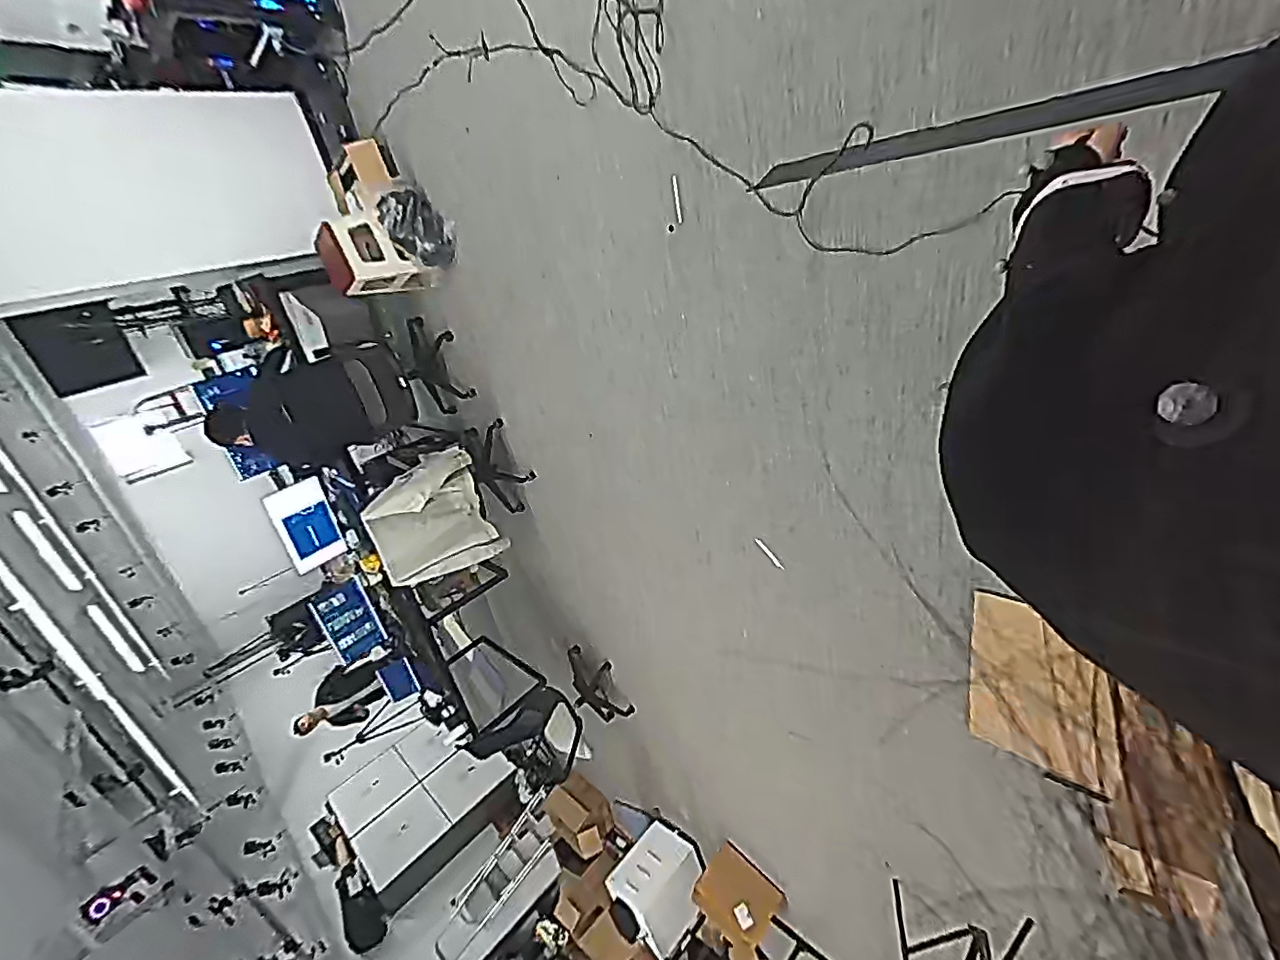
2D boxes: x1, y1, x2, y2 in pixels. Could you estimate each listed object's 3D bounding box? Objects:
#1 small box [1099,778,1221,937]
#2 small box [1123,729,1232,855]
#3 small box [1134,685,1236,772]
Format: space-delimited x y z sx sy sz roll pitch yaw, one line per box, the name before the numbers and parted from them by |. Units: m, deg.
small box | 1.091 0.781 1.136 0.168 0.176 0.179 8 120 47
small box | 1.212 0.713 1.226 0.168 0.176 0.179 8 122 46
small box | 1.323 0.640 1.322 0.168 0.176 0.179 9 122 46
